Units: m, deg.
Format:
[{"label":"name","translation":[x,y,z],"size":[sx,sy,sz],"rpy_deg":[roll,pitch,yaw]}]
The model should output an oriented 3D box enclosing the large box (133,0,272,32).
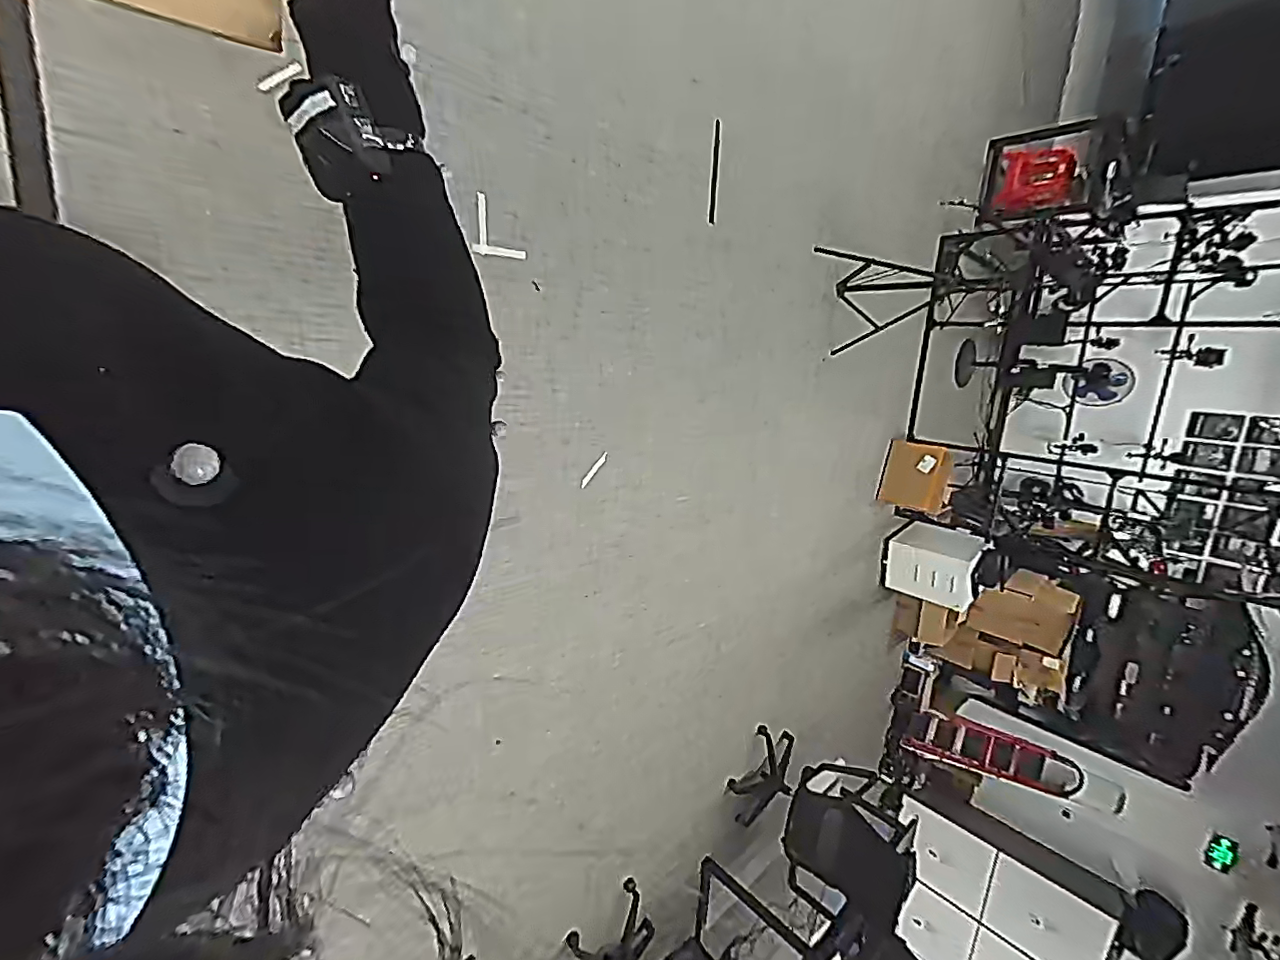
[{"label":"large box","translation":[-0.466,-0.498,0.282],"size":[0.408,0.320,0.320],"rpy_deg":[-10,128,-39]}]
